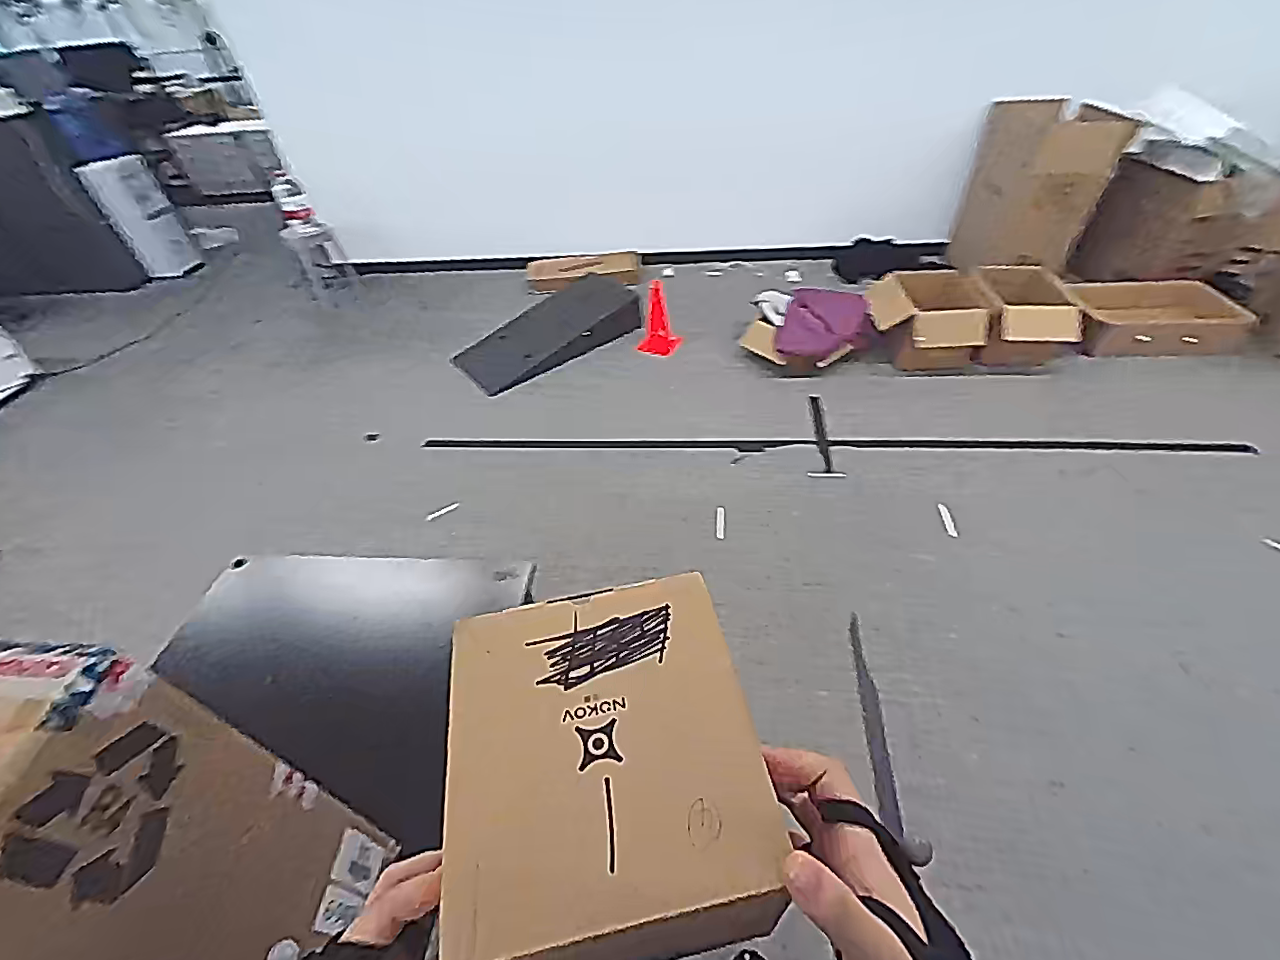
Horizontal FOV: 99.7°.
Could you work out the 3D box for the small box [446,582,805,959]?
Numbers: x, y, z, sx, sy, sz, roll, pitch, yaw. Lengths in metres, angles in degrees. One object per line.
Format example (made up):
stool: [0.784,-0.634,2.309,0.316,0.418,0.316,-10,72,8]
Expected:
small box: [-0.011,0.197,0.355,0.168,0.176,0.179,-10,43,-3]
